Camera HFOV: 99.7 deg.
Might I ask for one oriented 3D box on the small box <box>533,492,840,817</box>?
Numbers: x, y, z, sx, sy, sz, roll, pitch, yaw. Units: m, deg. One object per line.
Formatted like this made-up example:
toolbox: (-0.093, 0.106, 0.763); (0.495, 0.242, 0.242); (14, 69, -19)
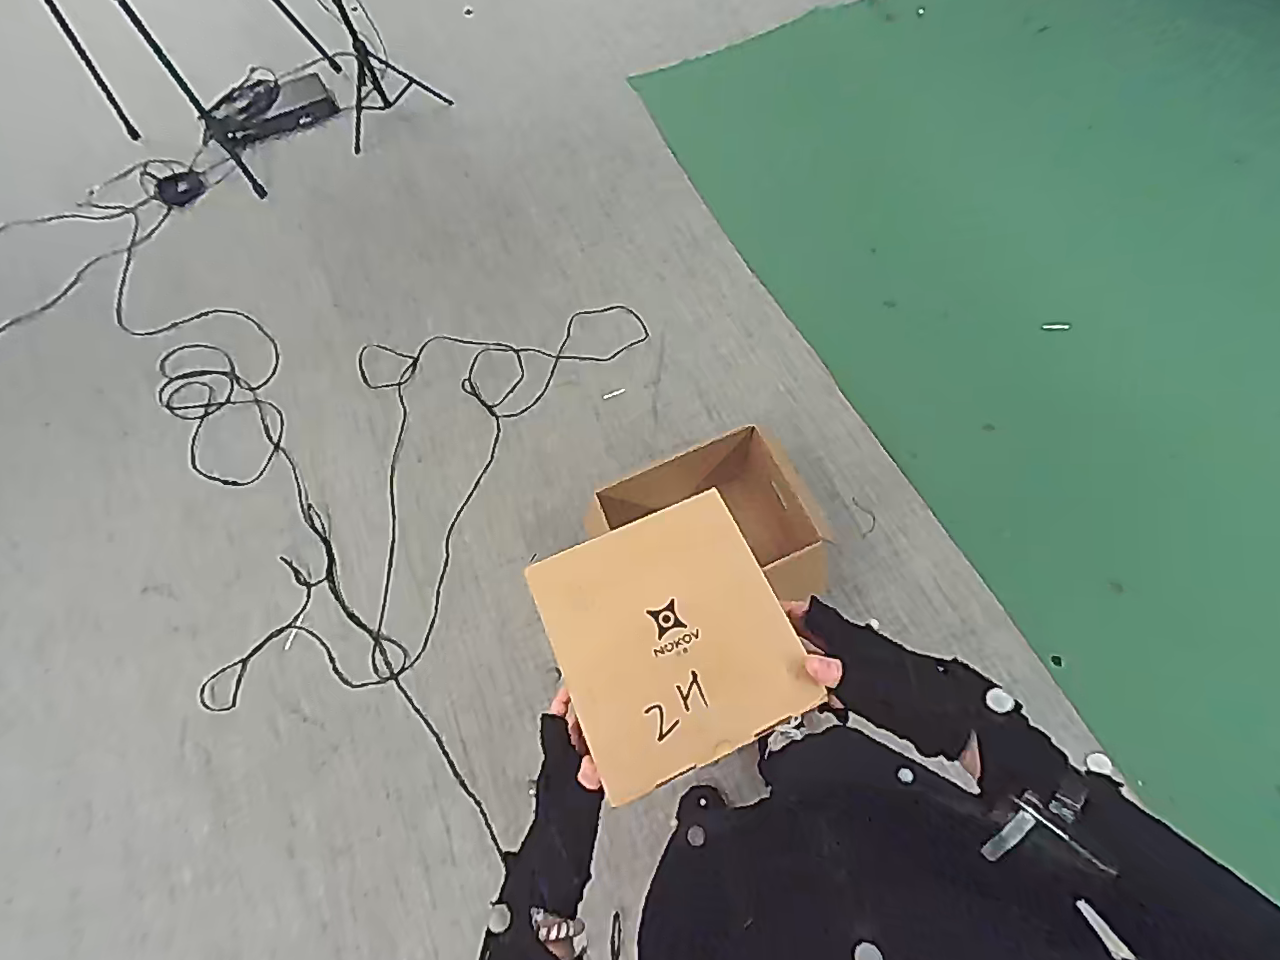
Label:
small box: (0.025, 0.141, 0.450); (0.168, 0.176, 0.179); (-22, 69, -9)
